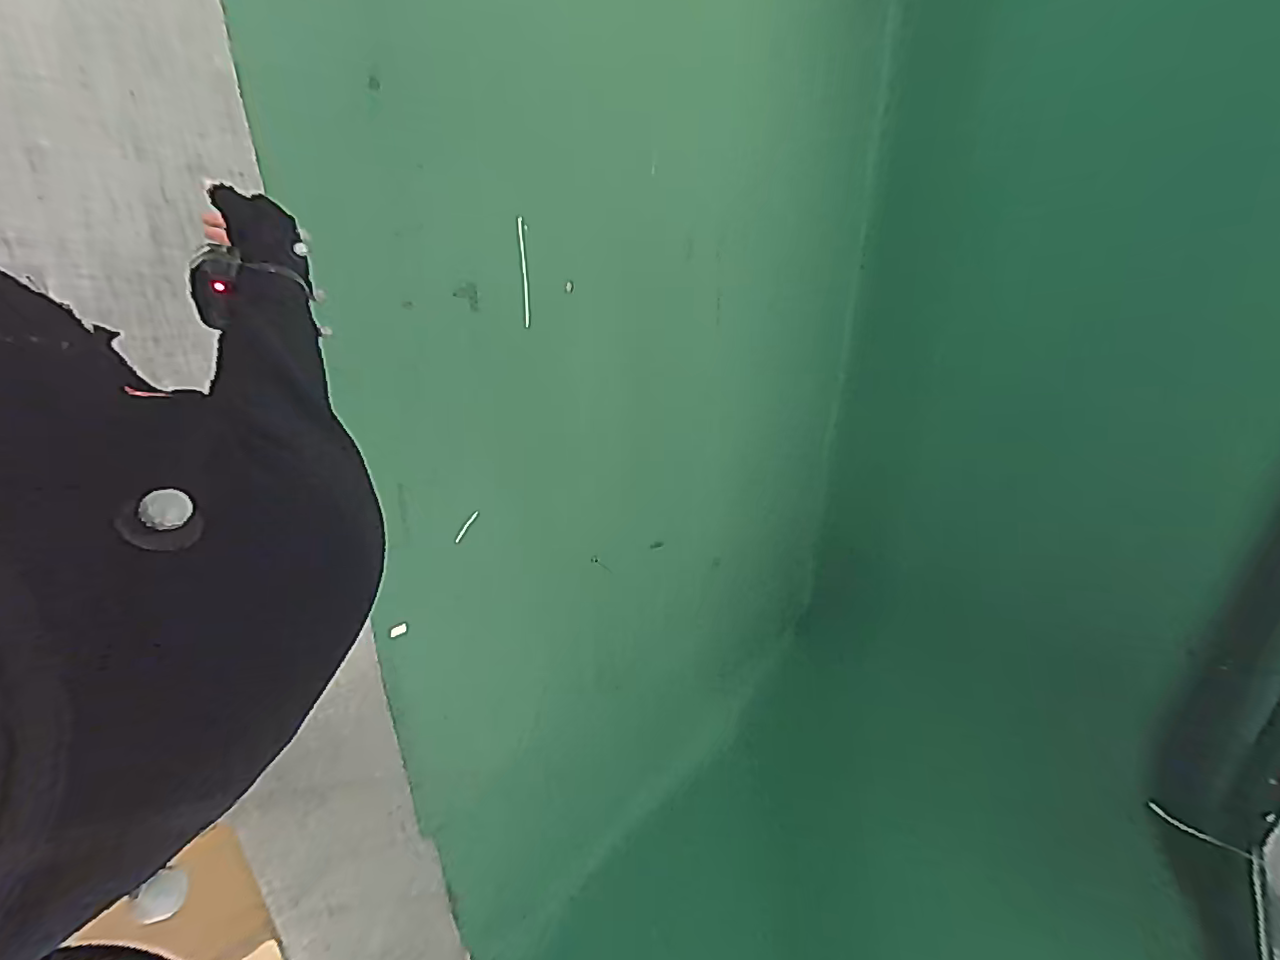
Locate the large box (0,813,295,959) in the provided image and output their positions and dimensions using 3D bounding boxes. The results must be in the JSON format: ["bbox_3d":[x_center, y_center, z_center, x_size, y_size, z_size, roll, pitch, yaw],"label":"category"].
[{"bbox_3d":[-0.905,0.934,0.985,0.408,0.320,0.320,-22,125,-42],"label":"large box"}]
